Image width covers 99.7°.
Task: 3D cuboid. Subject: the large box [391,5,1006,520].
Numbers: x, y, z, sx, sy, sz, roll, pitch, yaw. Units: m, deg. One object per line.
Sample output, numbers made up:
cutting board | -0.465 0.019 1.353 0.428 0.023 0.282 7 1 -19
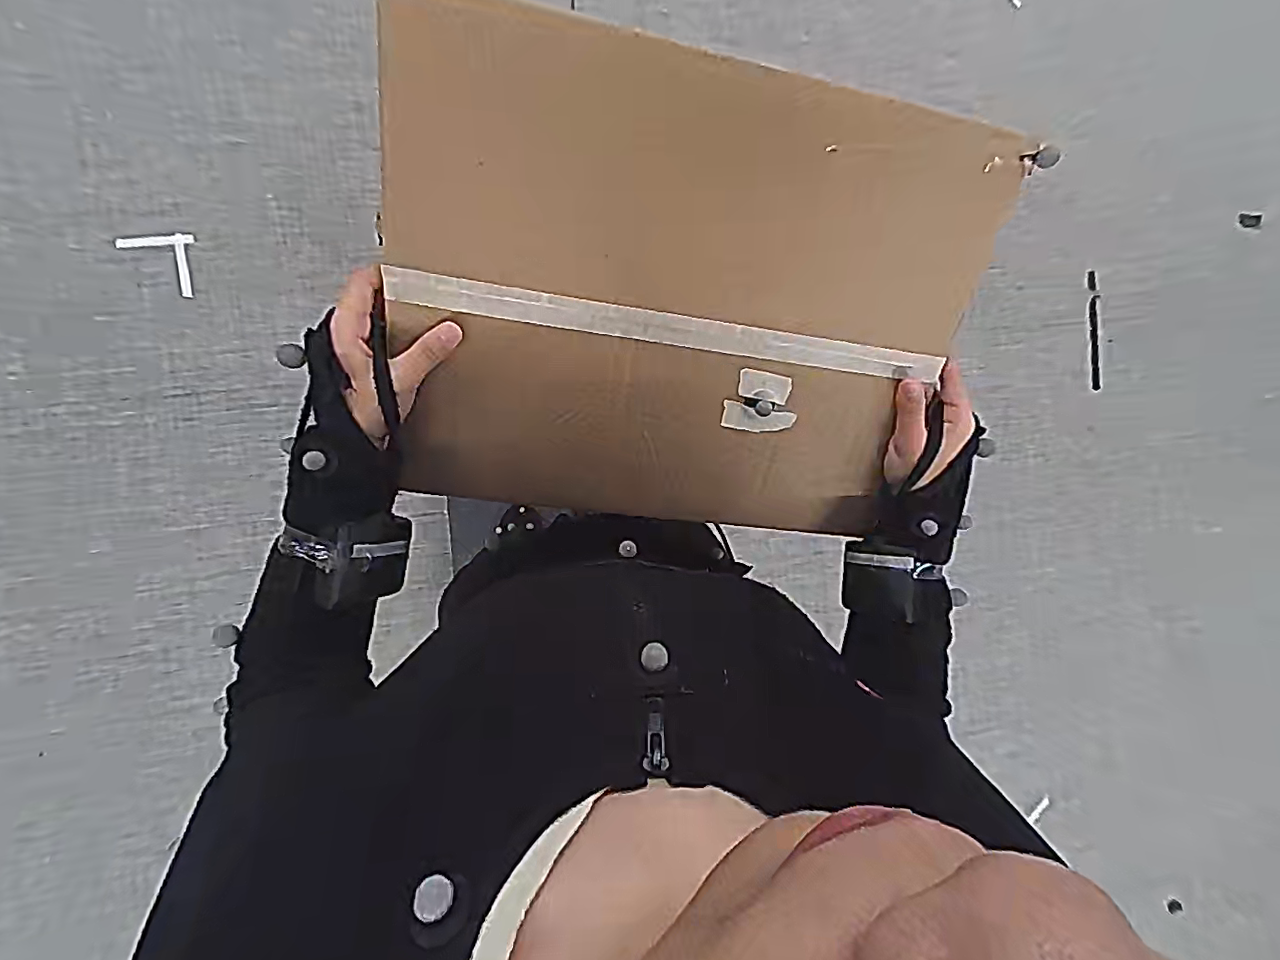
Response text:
large box | 0.013 -0.181 0.527 0.408 0.320 0.320 5 118 -11
